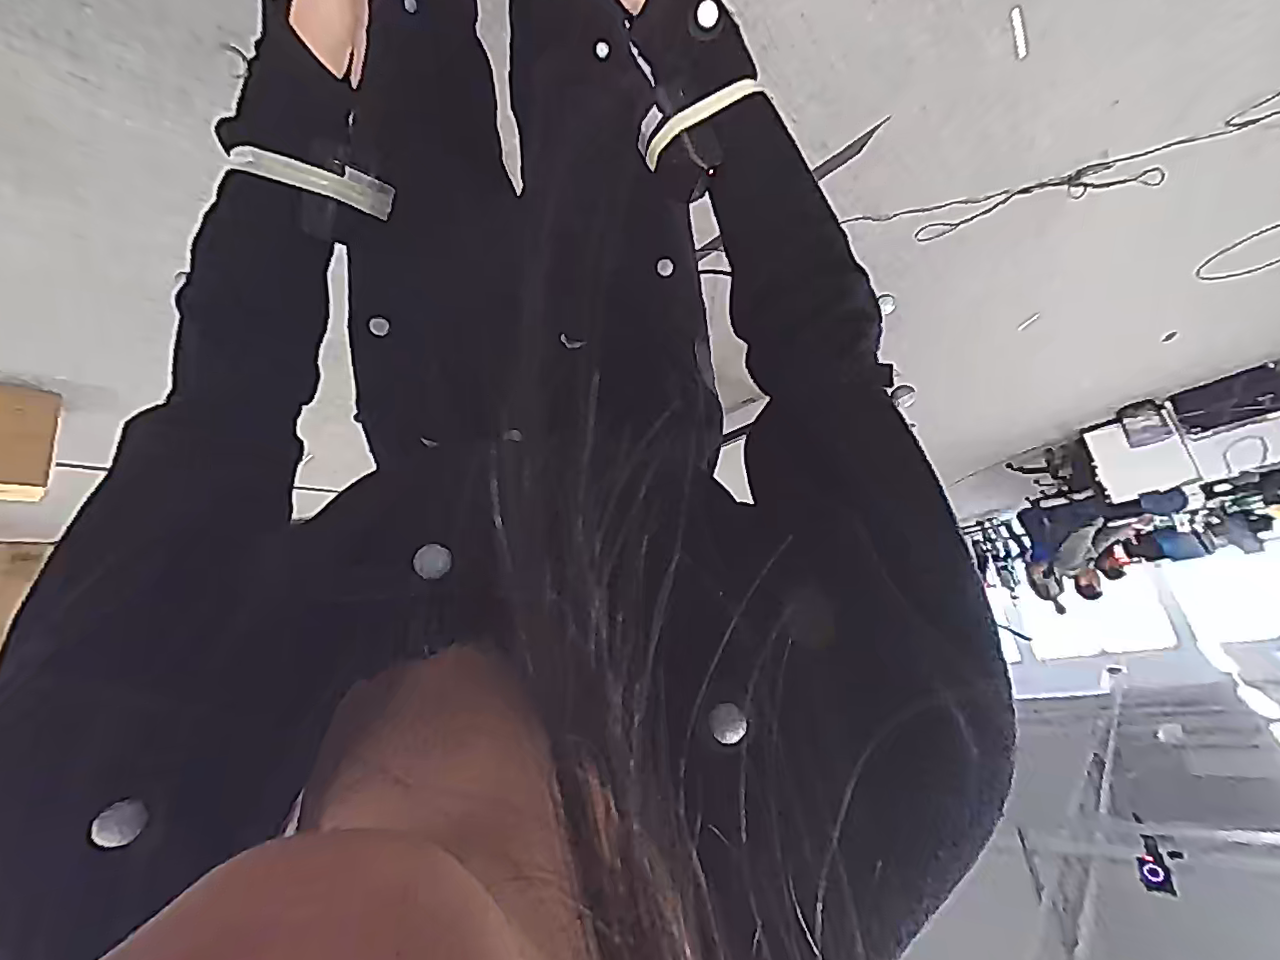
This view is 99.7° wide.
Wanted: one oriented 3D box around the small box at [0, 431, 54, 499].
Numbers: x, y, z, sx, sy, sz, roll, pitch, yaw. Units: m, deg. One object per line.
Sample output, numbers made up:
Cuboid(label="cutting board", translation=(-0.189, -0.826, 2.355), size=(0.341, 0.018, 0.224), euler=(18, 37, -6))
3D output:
Cuboid(label="small box", translation=(-2.010, -0.051, 1.711), size=(0.168, 0.176, 0.179), euler=(-20, 161, 34))
